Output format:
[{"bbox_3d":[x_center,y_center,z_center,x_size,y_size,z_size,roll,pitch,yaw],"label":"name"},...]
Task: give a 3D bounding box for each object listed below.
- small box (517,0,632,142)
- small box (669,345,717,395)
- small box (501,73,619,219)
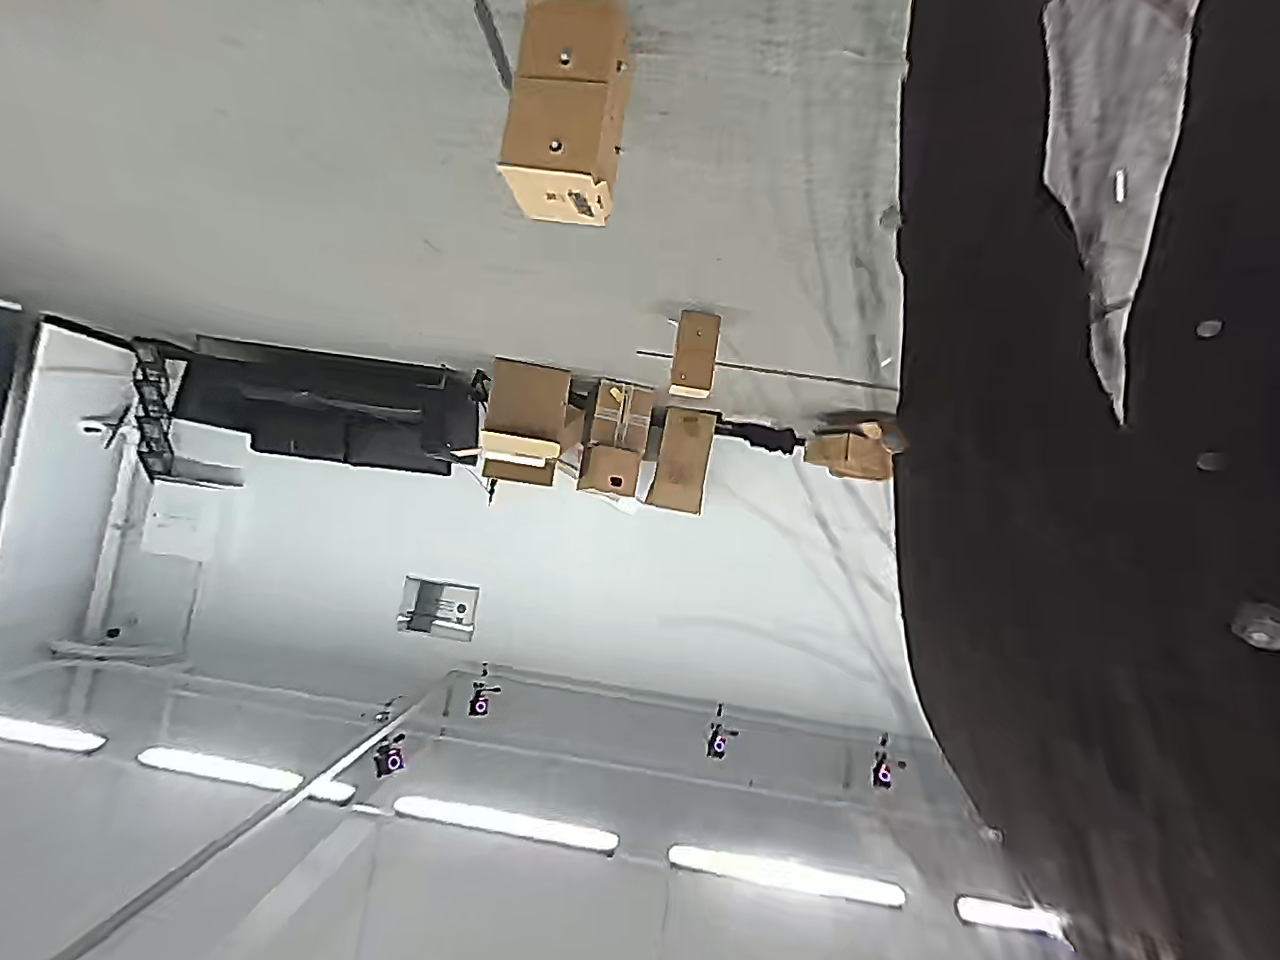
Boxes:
[{"bbox_3d":[-0.115,-0.785,1.033,0.179,0.176,0.168,10,176,7],"label":"small box"},{"bbox_3d":[0.231,-0.487,2.383,0.179,0.176,0.168,8,178,-1],"label":"small box"},{"bbox_3d":[-0.141,-0.623,1.019,0.179,0.176,0.168,9,176,6],"label":"small box"}]
